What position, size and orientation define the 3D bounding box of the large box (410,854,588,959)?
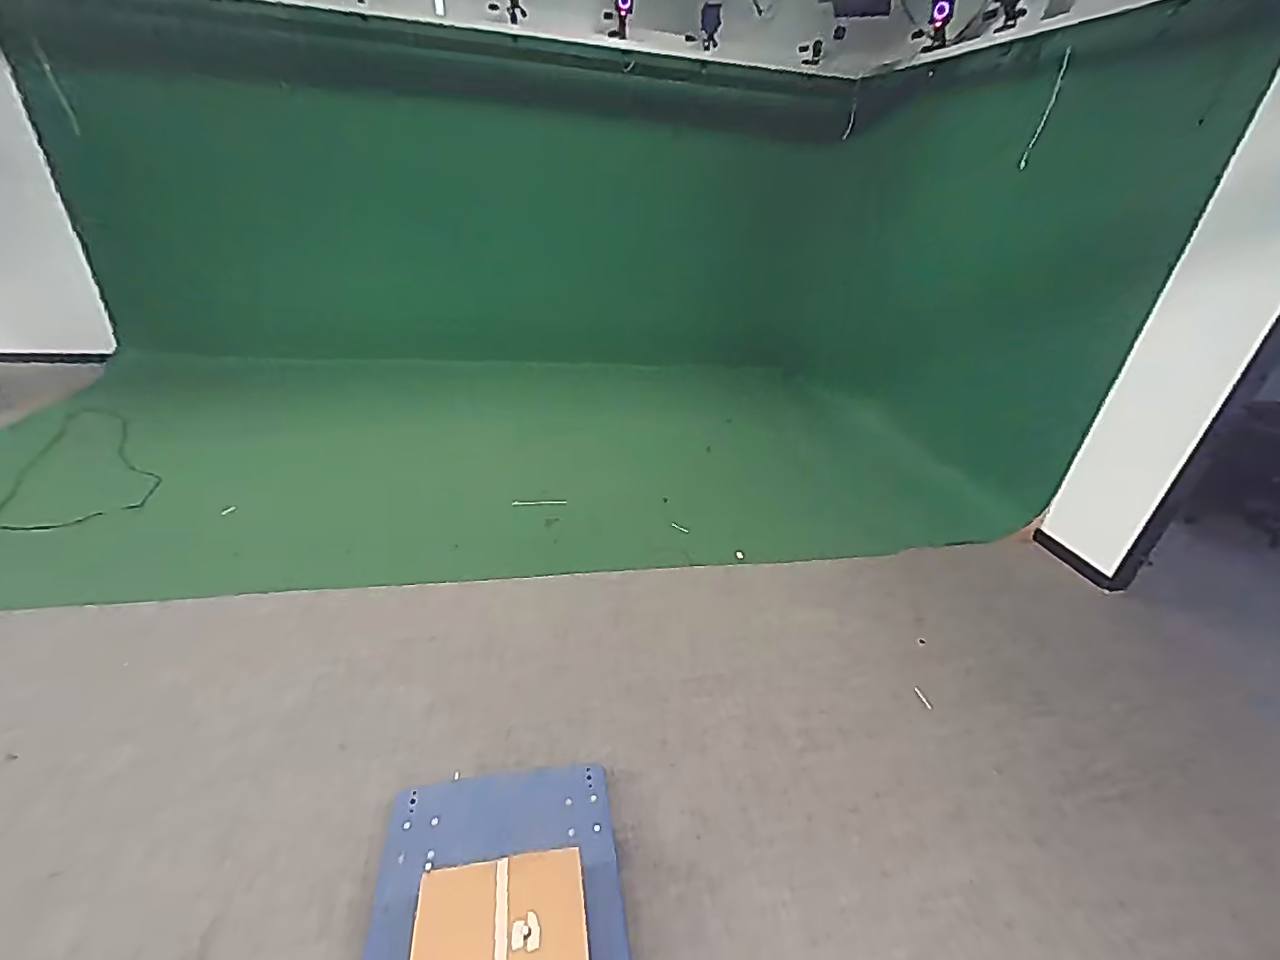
[{"bbox_3d":[-0.250,1.009,0.994,0.320,0.320,0.408,-1,28,-12],"label":"large box"}]
